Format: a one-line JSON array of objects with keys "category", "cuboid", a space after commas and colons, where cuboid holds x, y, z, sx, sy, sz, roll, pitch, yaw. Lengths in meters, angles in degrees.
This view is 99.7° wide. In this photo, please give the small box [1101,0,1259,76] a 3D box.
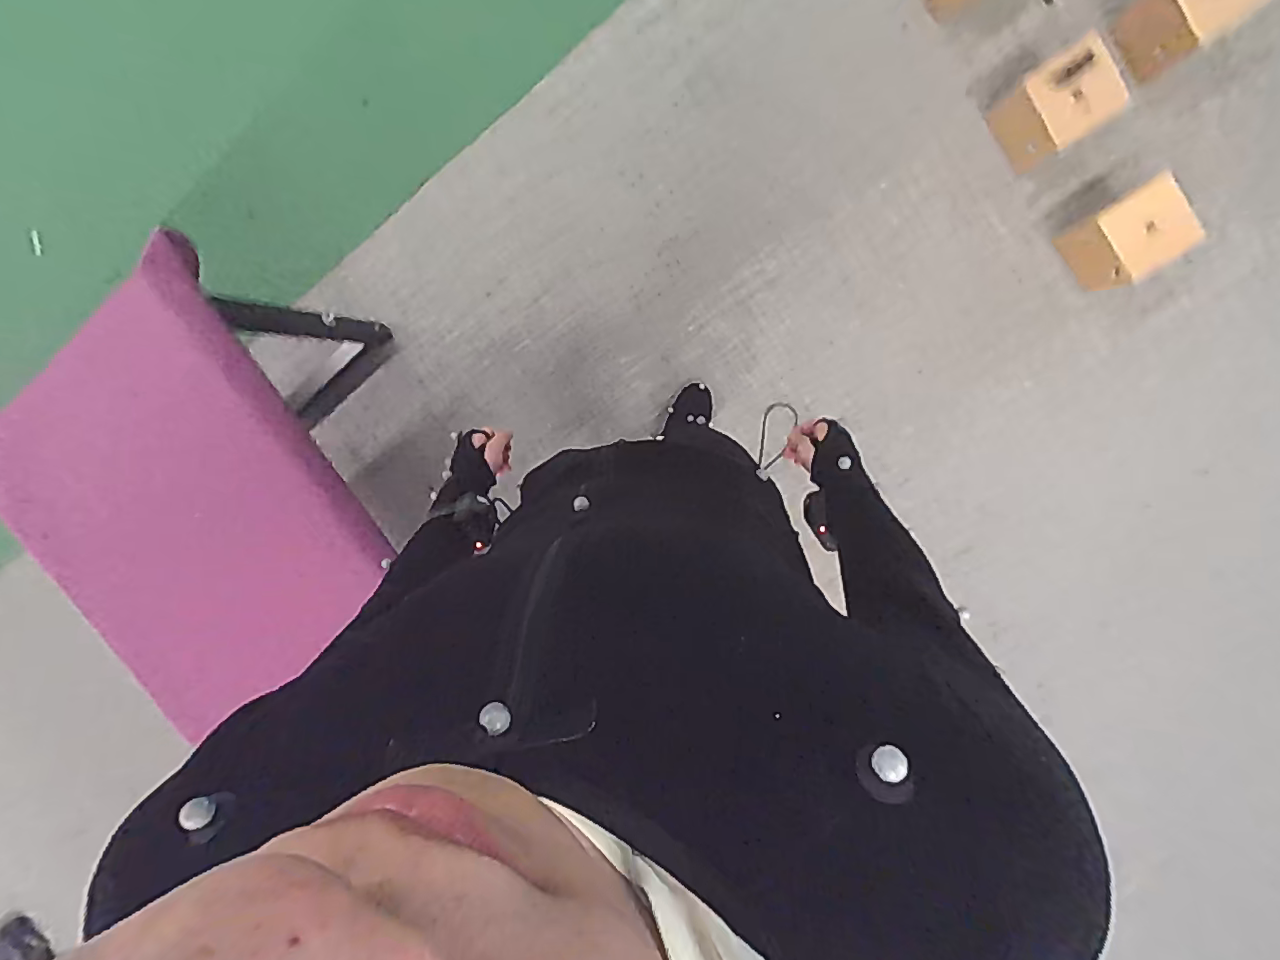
[{"category": "small box", "cuboid": [1.195, -1.048, 1.197, 0.168, 0.176, 0.179, -34, 94, 11]}]

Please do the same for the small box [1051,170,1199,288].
[{"category": "small box", "cuboid": [1.140, -0.585, 1.289, 0.168, 0.176, 0.179, -36, 95, 12]}]

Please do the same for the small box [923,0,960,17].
[{"category": "small box", "cuboid": [0.733, -1.221, 1.225, 0.179, 0.176, 0.168, -33, 95, 11]}]
